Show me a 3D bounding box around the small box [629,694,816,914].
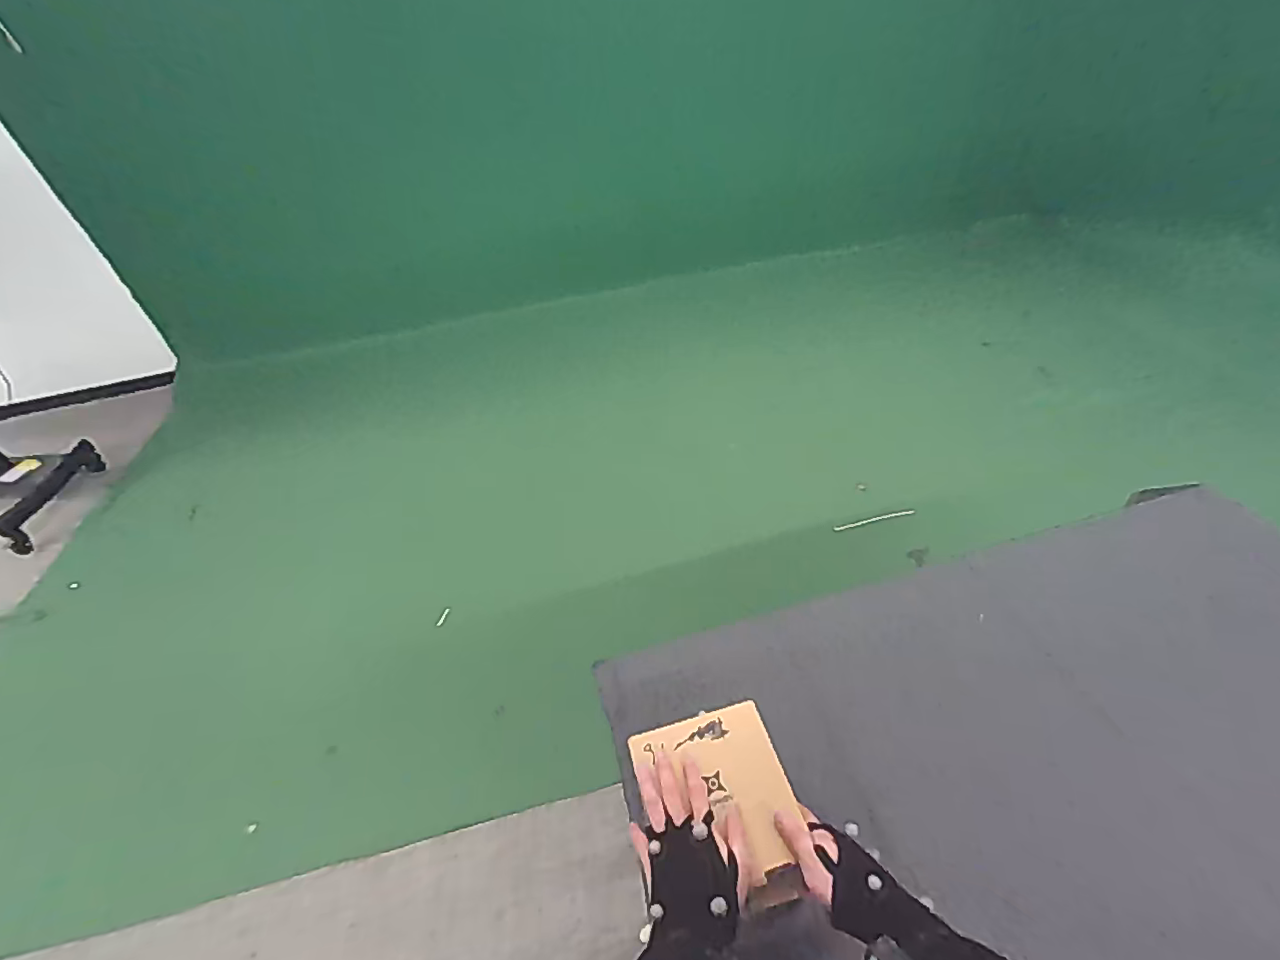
[{"bbox_3d":[0.092,0.398,0.661,0.168,0.176,0.179,-13,44,-8],"label":"small box"}]
